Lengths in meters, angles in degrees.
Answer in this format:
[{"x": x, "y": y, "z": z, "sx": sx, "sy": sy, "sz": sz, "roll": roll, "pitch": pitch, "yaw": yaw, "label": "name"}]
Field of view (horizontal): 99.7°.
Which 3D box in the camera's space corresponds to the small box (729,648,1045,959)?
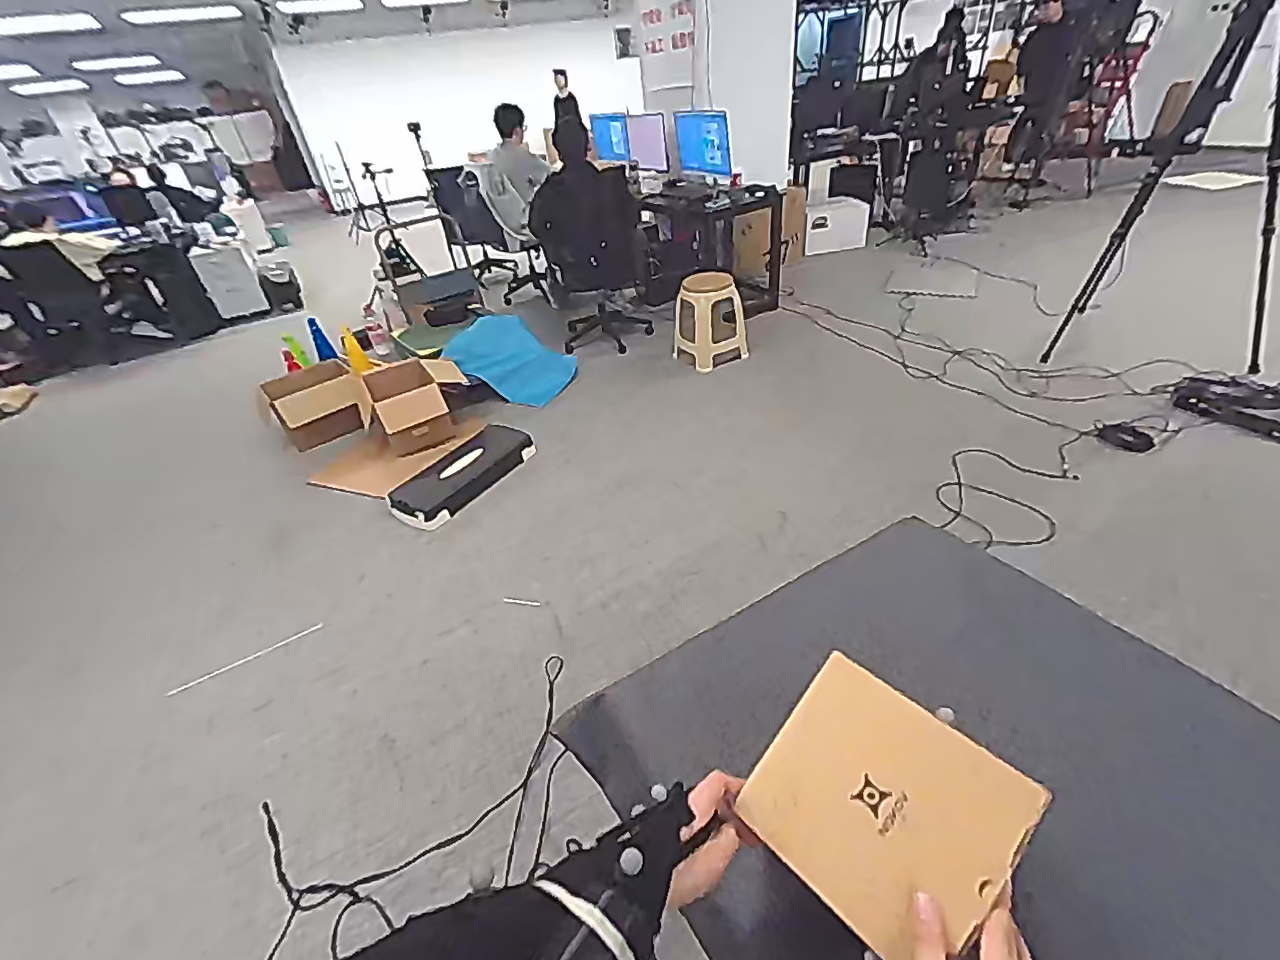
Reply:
[{"x": 0.214, "y": 0.286, "z": 0.484, "sx": 0.179, "sy": 0.176, "sz": 0.168, "roll": 30, "pitch": 77, "yaw": 38, "label": "small box"}]
